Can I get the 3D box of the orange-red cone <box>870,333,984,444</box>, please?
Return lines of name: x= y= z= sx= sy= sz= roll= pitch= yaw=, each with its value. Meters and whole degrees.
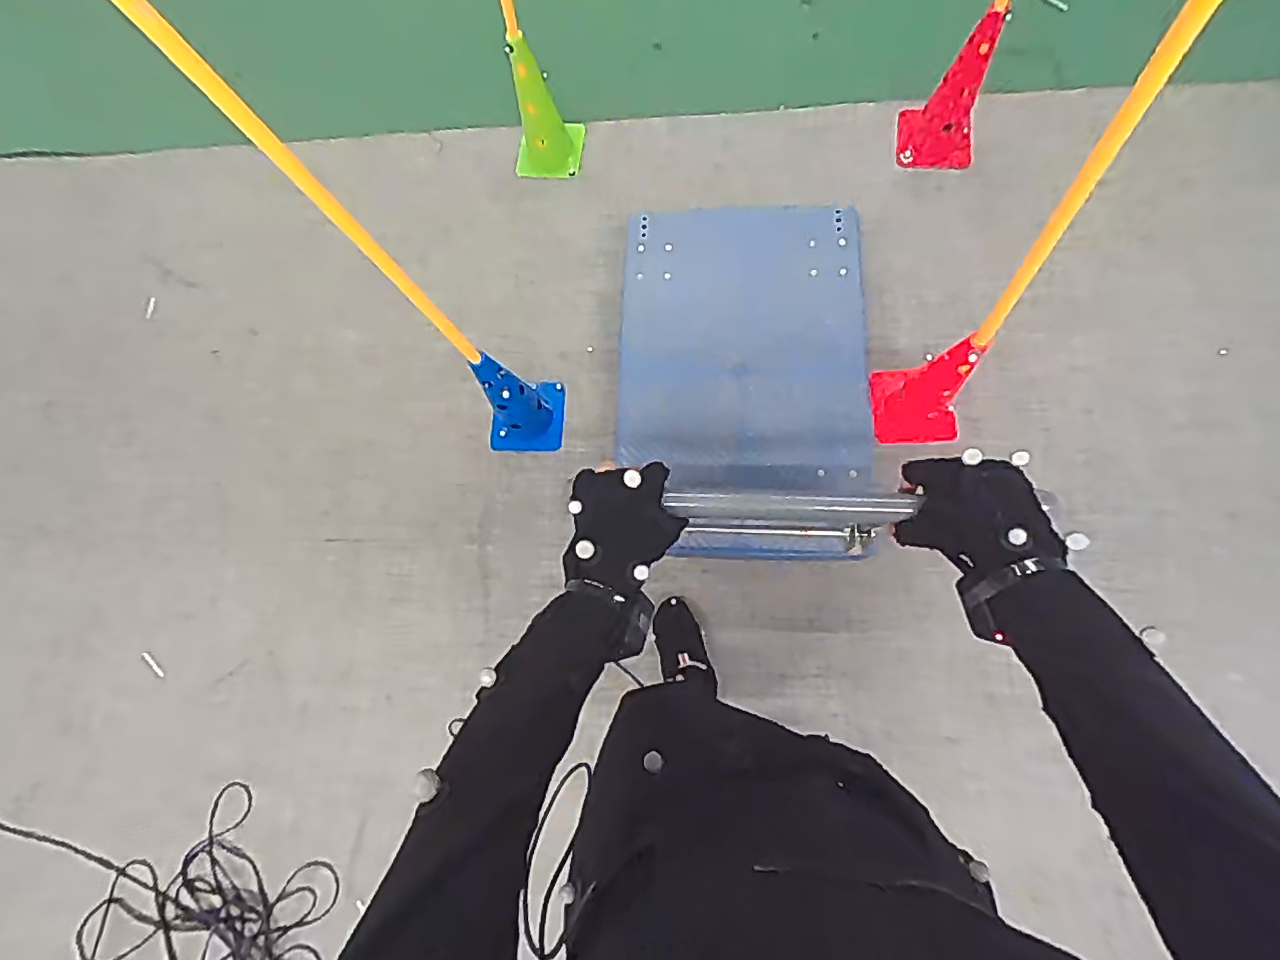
orange-red cone: x=0.675 y=-0.228 z=1.225 sx=0.199 sy=0.360 sz=0.198 roll=0 pitch=76 yaw=8

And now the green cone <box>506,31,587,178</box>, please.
green cone: x=-0.292 y=-1.073 z=1.527 sx=0.202 sy=0.368 sz=0.200 roll=5 pitch=77 yaw=8
